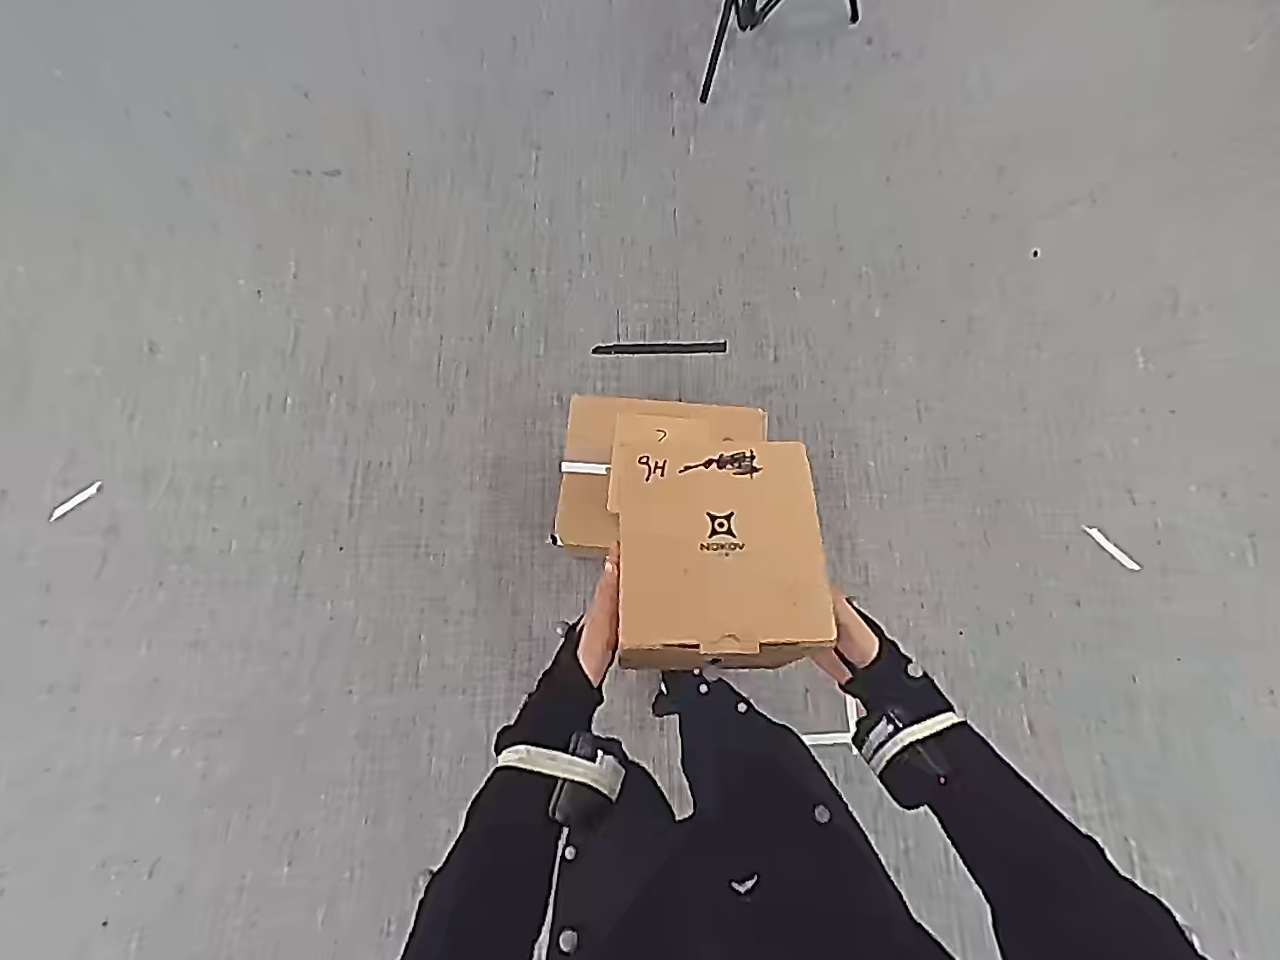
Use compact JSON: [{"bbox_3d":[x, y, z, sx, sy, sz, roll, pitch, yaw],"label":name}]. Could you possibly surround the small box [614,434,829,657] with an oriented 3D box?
[{"bbox_3d":[0.060,0.072,0.514,0.168,0.176,0.179,1,66,-3],"label":"small box"}]
